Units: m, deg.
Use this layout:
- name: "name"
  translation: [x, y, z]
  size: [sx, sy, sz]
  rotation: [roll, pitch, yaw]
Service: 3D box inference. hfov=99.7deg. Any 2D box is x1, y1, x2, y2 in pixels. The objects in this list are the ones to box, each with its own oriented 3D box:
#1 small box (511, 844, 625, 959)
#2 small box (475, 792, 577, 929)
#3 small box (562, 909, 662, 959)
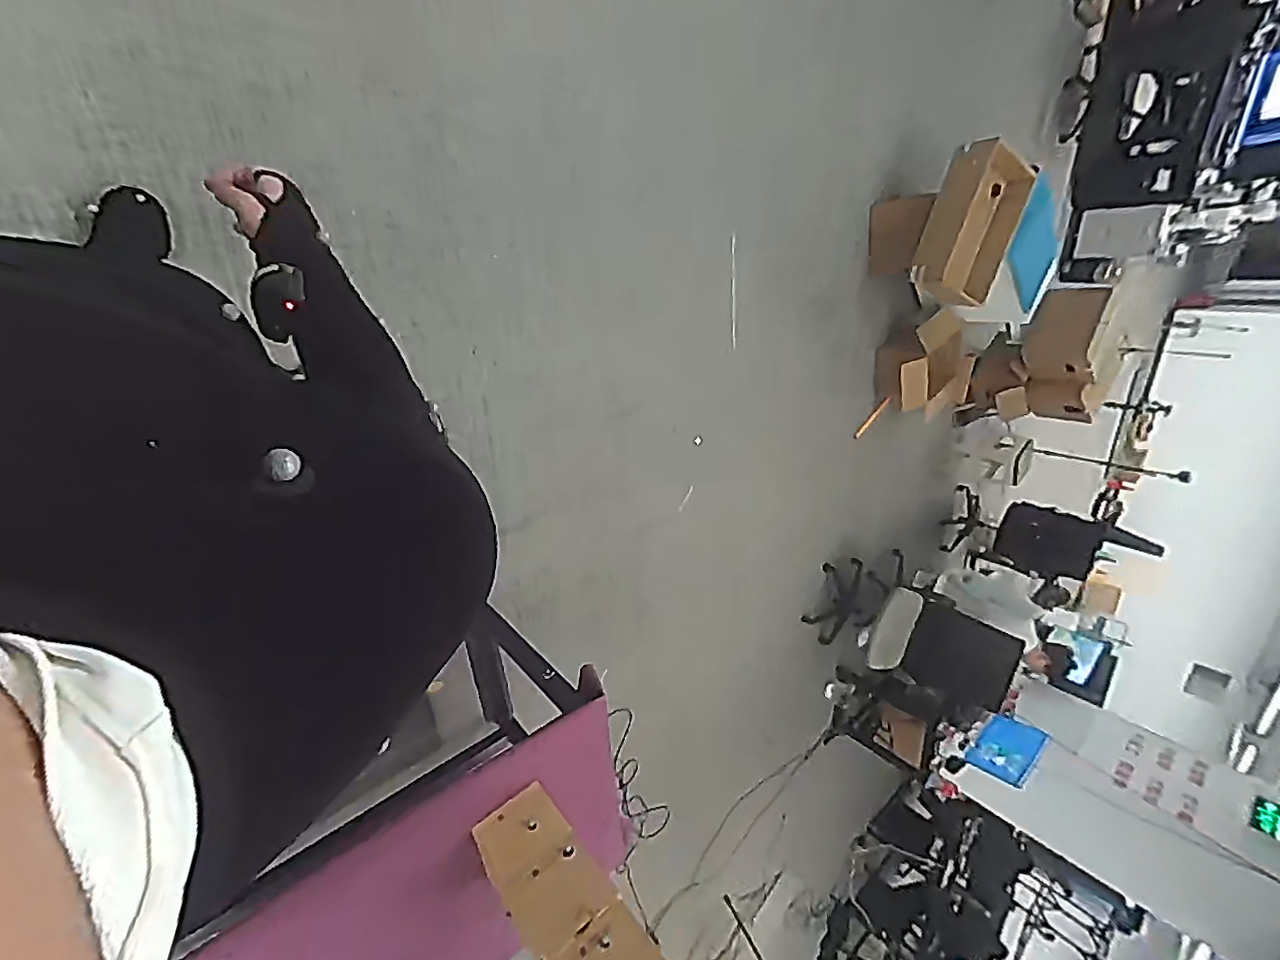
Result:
- name: "small box"
  translation: [-0.140, 0.879, 1.080]
  size: [0.168, 0.176, 0.179]
  rotation: [-23, 121, -34]
- name: "small box"
  translation: [-0.245, 0.837, 1.200]
  size: [0.168, 0.176, 0.179]
  rotation: [-24, 120, -34]
- name: "small box"
  translation: [-0.037, 0.930, 0.964]
  size: [0.168, 0.176, 0.179]
  rotation: [-23, 120, -34]
